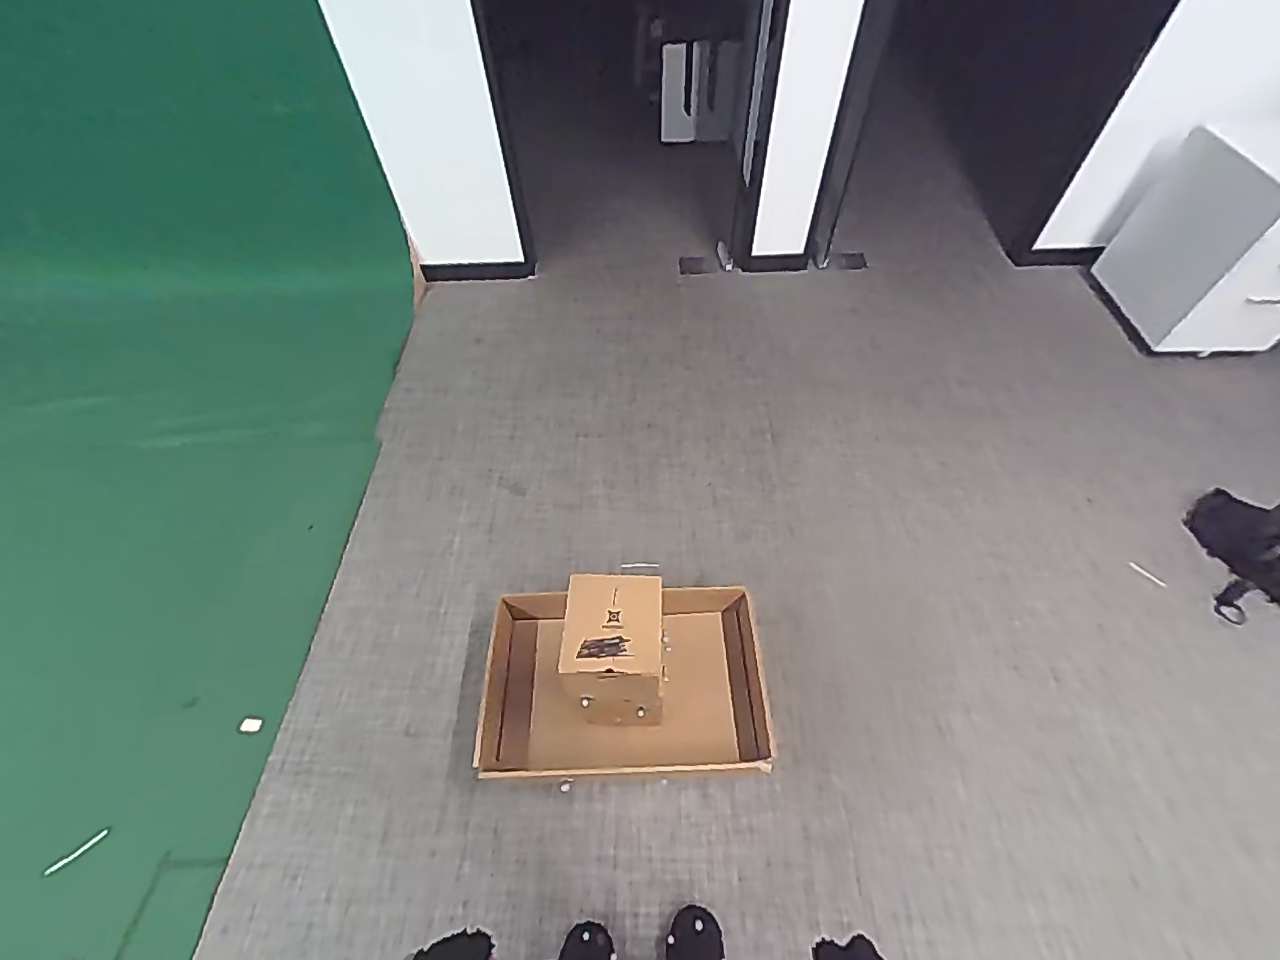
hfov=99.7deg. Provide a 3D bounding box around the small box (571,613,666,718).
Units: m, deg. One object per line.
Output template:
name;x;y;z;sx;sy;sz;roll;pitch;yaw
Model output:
small box;-0.042;0.377;1.097;0.179;0.176;0.168;-2;53;-1

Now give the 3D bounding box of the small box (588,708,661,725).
small box;-0.042;0.462;1.258;0.179;0.176;0.168;-3;52;-1

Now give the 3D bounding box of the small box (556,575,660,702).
small box;-0.049;0.290;0.977;0.168;0.176;0.179;1;52;2
